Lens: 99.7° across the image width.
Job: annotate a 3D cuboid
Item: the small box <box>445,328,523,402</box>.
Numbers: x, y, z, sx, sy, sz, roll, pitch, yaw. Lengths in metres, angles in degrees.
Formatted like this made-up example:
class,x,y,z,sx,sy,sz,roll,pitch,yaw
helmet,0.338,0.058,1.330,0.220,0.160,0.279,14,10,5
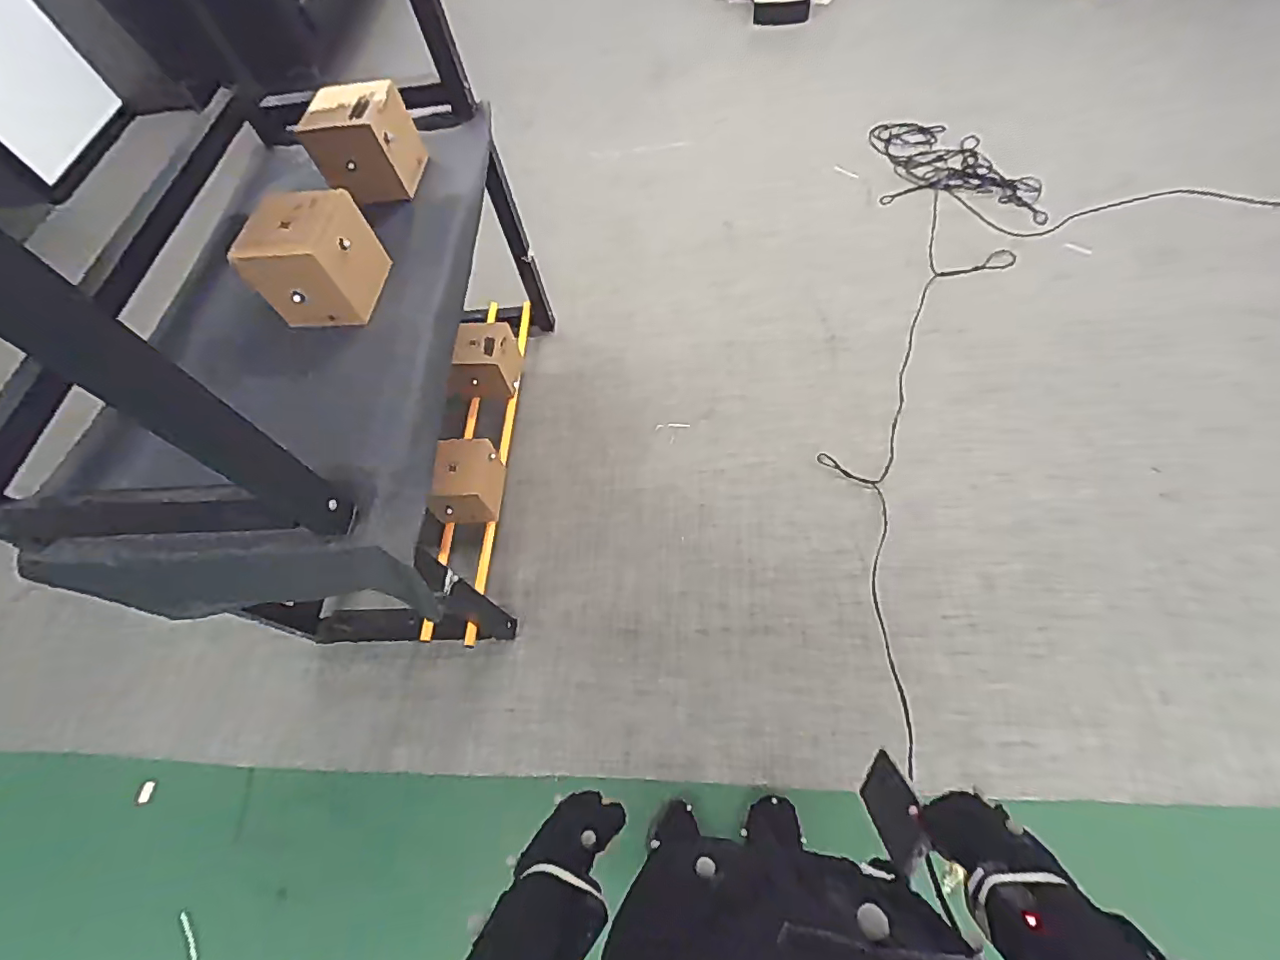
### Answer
class,x,y,z,sx,sy,sz,roll,pitch,yaw
small box,-0.481,-0.360,1.703,0.179,0.176,0.168,1,61,8

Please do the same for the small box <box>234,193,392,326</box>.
class,x,y,z,sx,sy,sz,roll,pitch,yaw
small box,-0.604,-0.410,1.028,0.168,0.176,0.179,1,61,8
